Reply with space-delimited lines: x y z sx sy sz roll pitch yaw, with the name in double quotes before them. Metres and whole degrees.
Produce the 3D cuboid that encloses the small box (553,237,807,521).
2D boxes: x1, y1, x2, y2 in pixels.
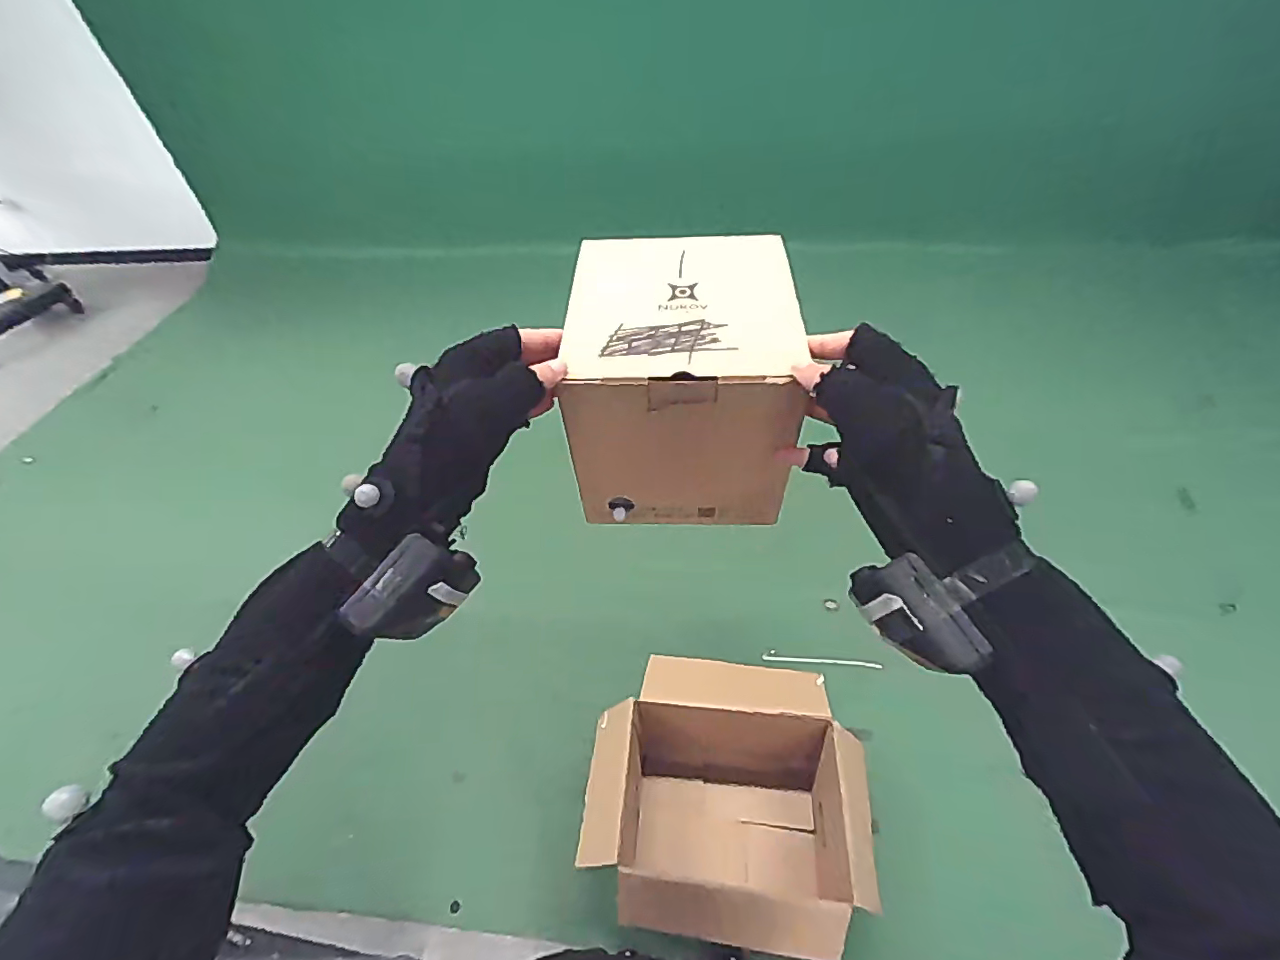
"small box" 0.033 -0.077 0.455 0.168 0.176 0.179 0 52 4
